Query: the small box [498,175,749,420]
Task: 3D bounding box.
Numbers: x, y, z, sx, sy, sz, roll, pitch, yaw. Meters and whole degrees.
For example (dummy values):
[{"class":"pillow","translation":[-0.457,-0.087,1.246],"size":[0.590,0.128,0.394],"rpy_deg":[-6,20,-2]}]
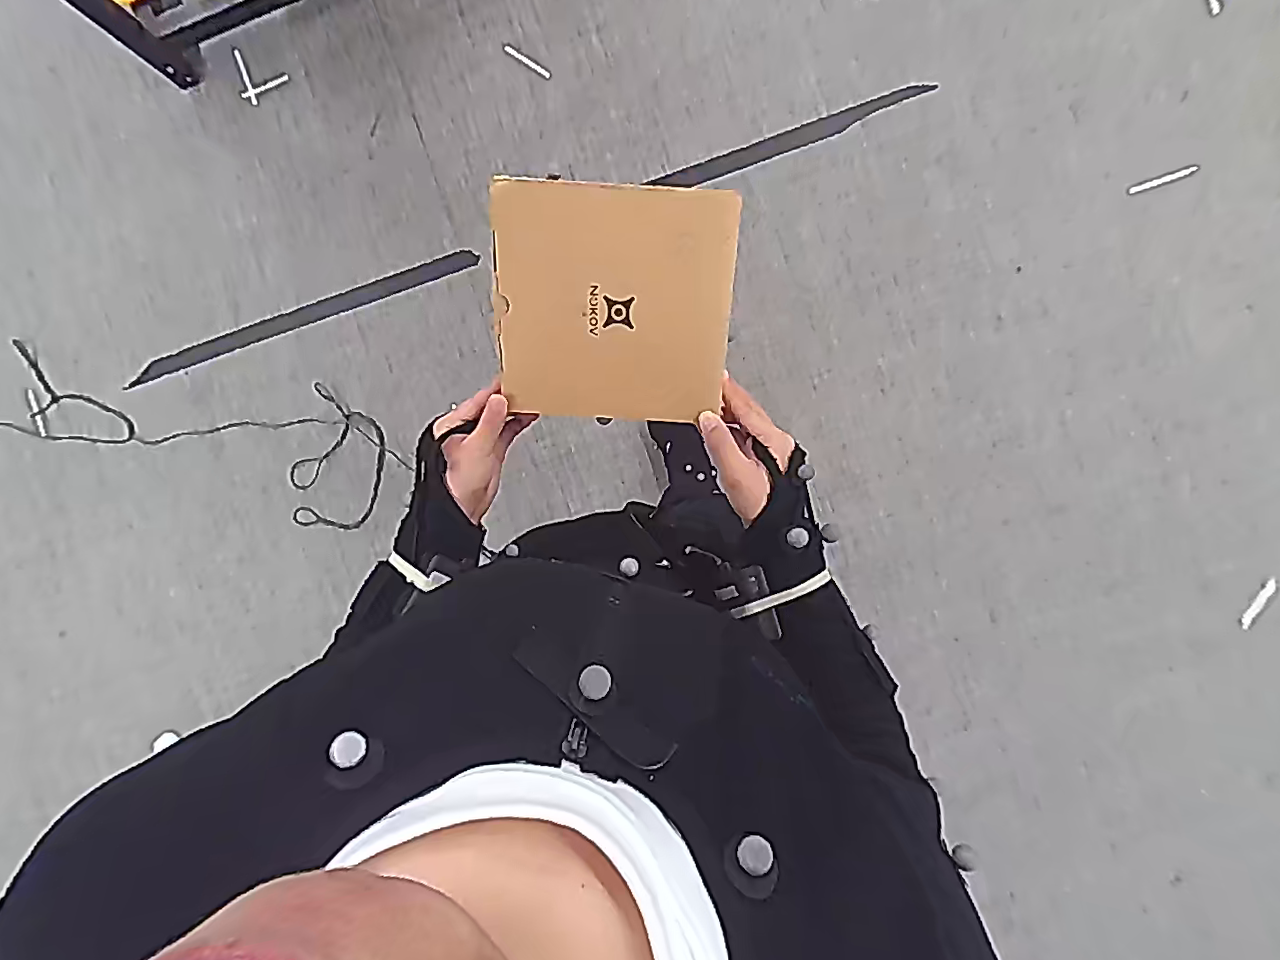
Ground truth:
[{"class":"small box","translation":[-0.013,-0.159,0.473],"size":[0.179,0.176,0.168],"rpy_deg":[4,113,2]}]
